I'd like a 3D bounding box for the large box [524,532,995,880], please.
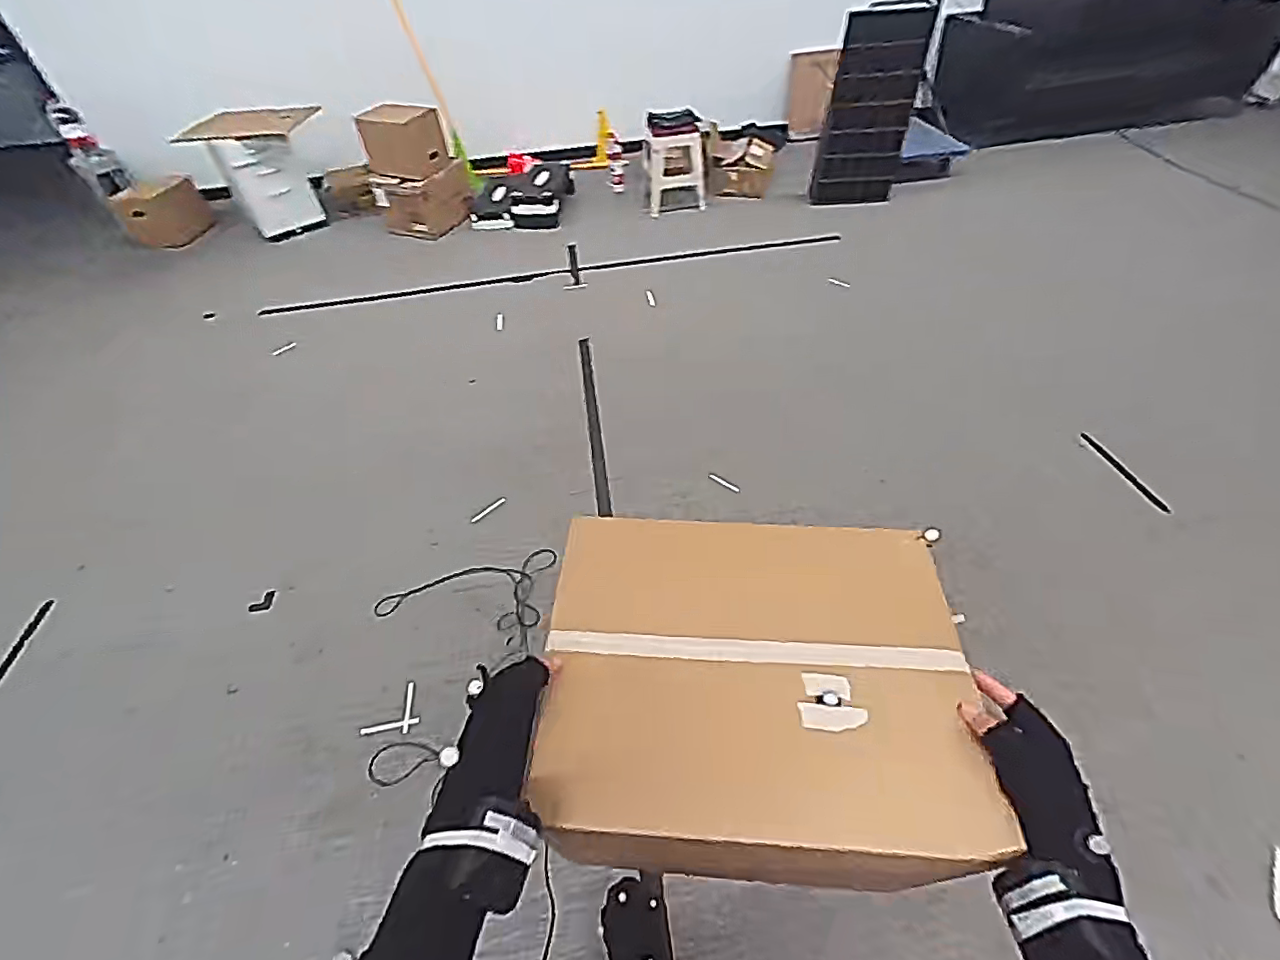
[{"bbox_3d":[0.104,0.278,0.660,0.408,0.320,0.320,1,50,3],"label":"large box"}]
